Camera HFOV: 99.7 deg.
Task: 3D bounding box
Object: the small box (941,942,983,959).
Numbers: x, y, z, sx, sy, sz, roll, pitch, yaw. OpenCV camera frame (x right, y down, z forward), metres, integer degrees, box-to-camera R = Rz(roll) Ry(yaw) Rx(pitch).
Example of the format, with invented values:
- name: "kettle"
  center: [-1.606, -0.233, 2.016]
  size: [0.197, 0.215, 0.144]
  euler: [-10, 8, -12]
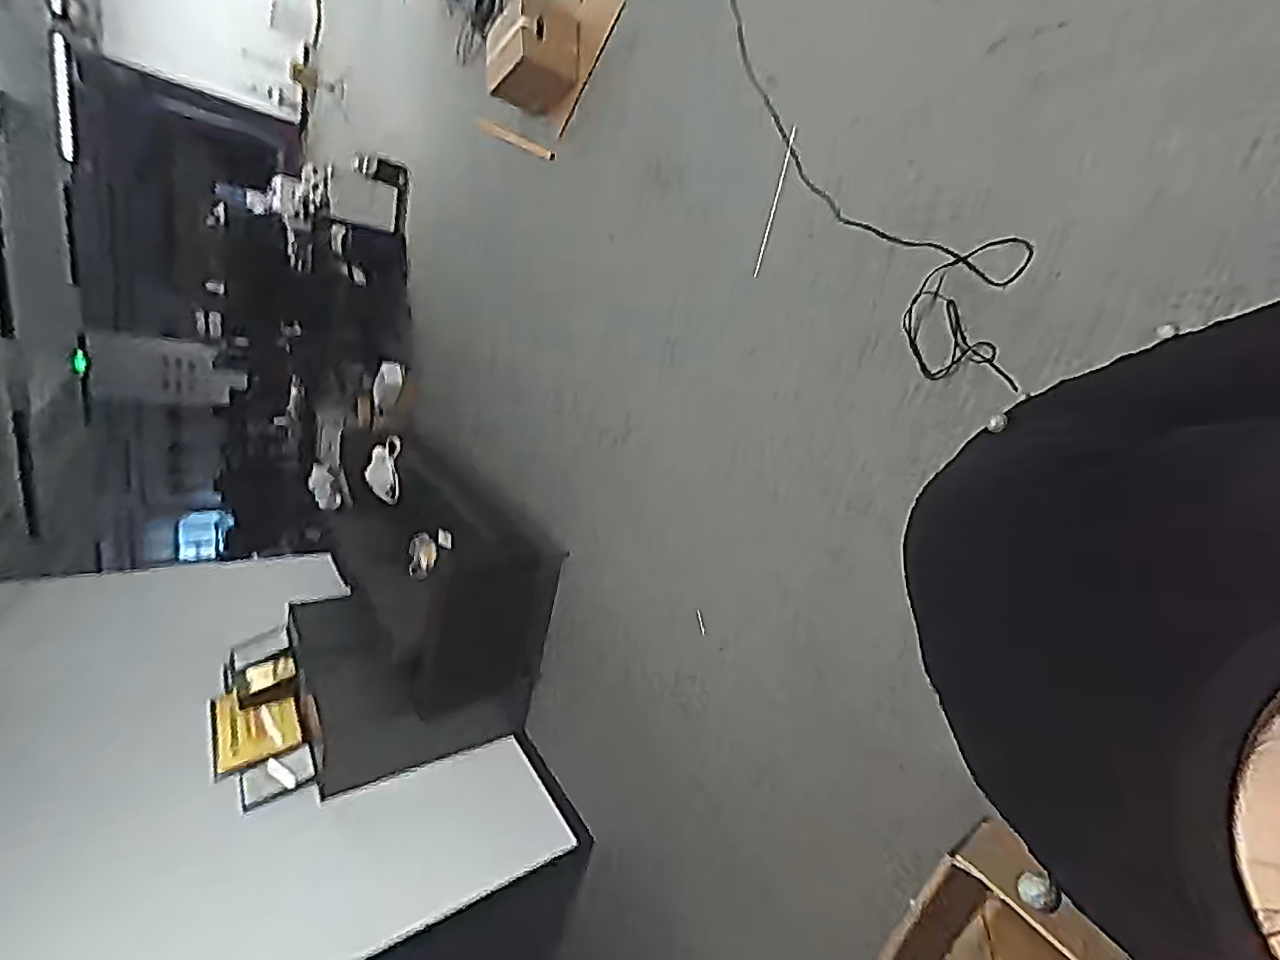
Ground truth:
- name: "small box"
  center: [0.459, 0.812, 0.749]
  size: [0.179, 0.176, 0.168]
  euler: [40, 120, 44]
